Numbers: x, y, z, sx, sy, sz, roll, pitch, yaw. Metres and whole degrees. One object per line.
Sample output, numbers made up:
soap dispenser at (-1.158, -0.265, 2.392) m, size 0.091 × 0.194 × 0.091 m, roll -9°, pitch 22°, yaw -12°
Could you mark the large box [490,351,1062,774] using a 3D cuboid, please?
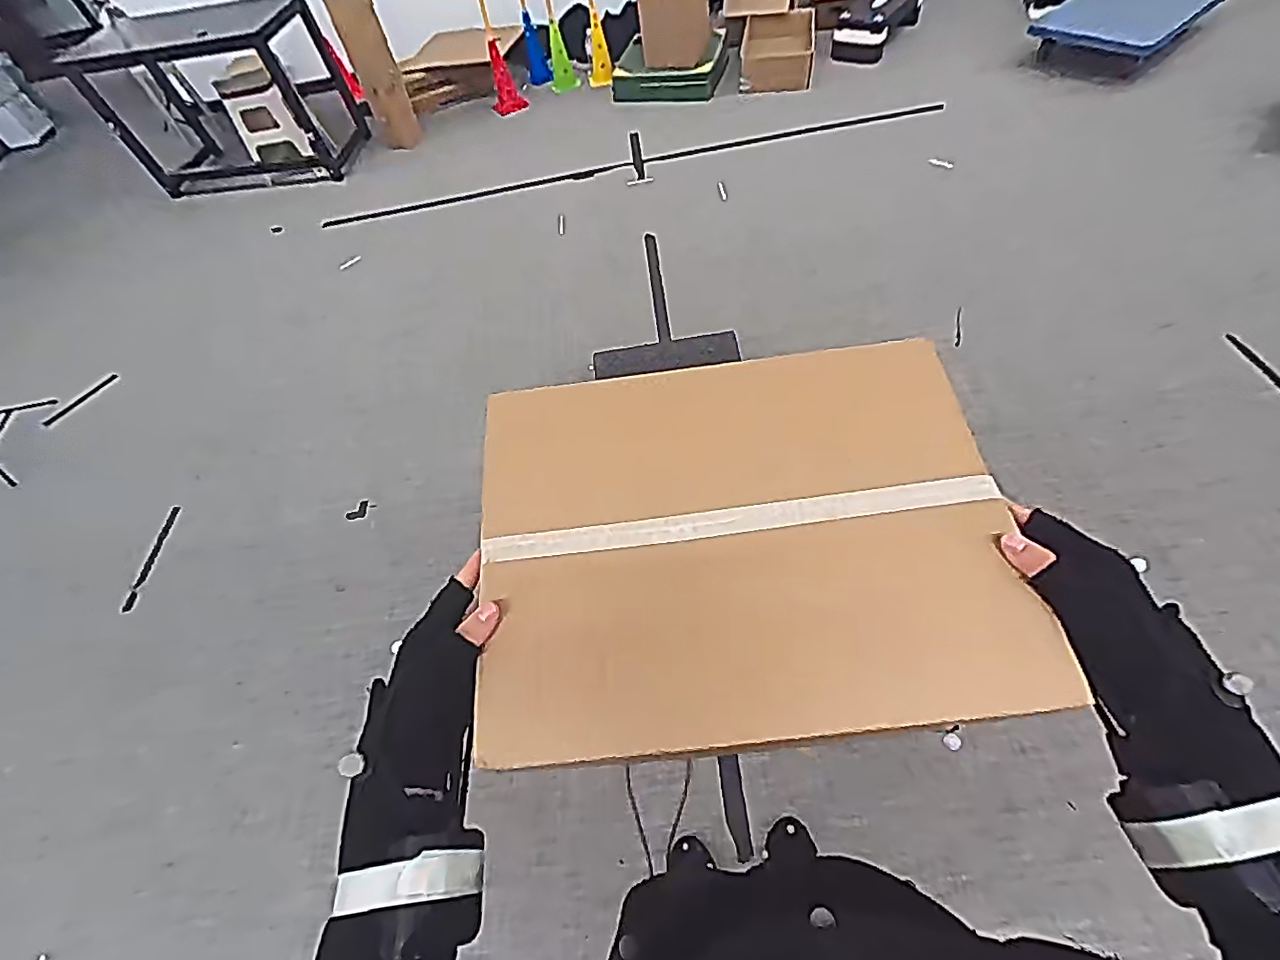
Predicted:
large box at (0.091, 0.109, 0.570) m, size 0.408 × 0.320 × 0.320 m, roll -8°, pitch 61°, yaw 2°
